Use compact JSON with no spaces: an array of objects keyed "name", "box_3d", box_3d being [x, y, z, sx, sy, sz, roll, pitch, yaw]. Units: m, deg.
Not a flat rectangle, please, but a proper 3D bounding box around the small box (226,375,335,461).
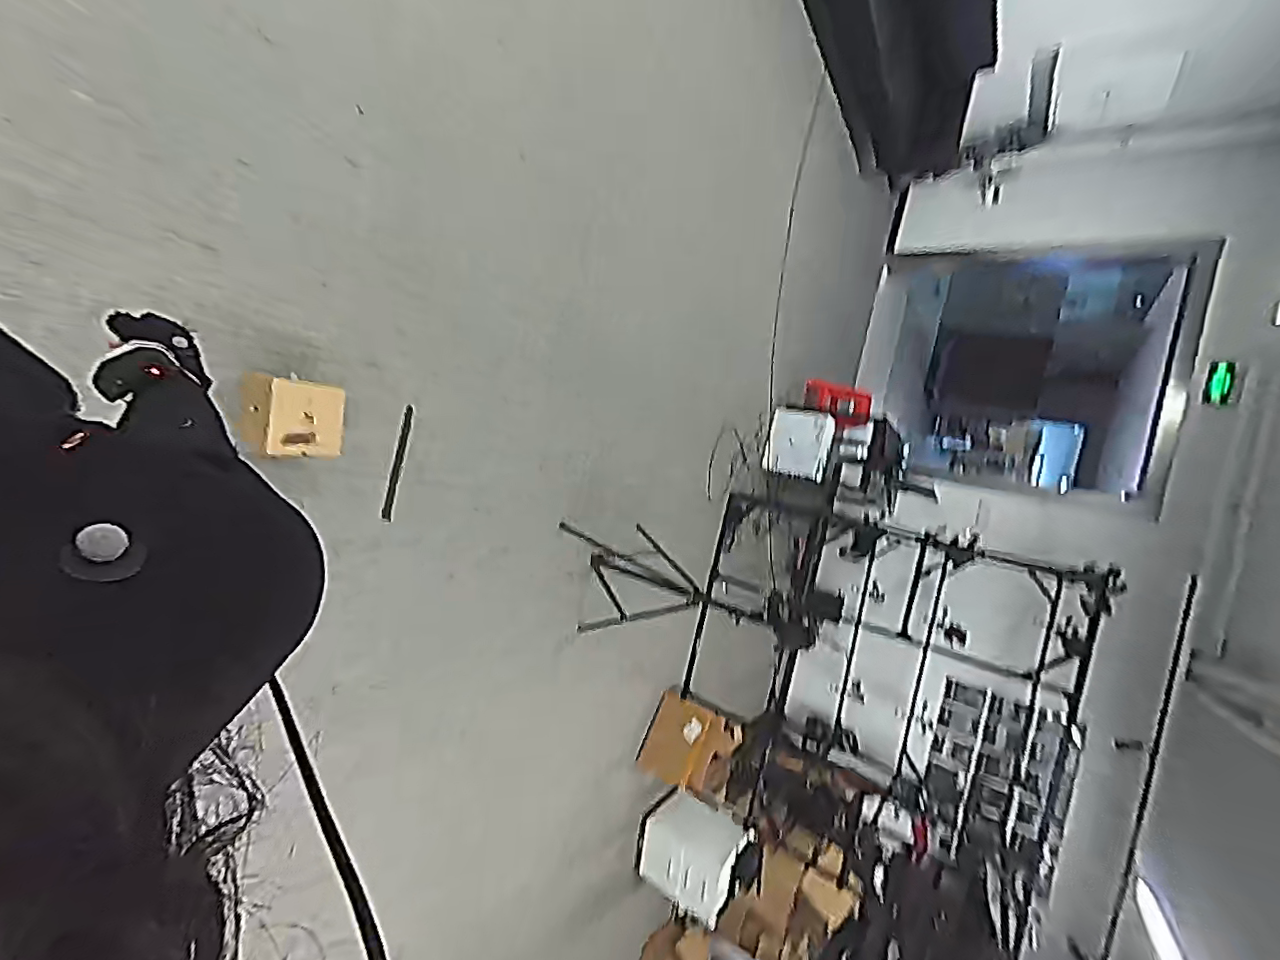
[{"name":"small box","box_3d":[-0.881,-0.150,1.322,0.168,0.176,0.179,4,96,-57]}]
